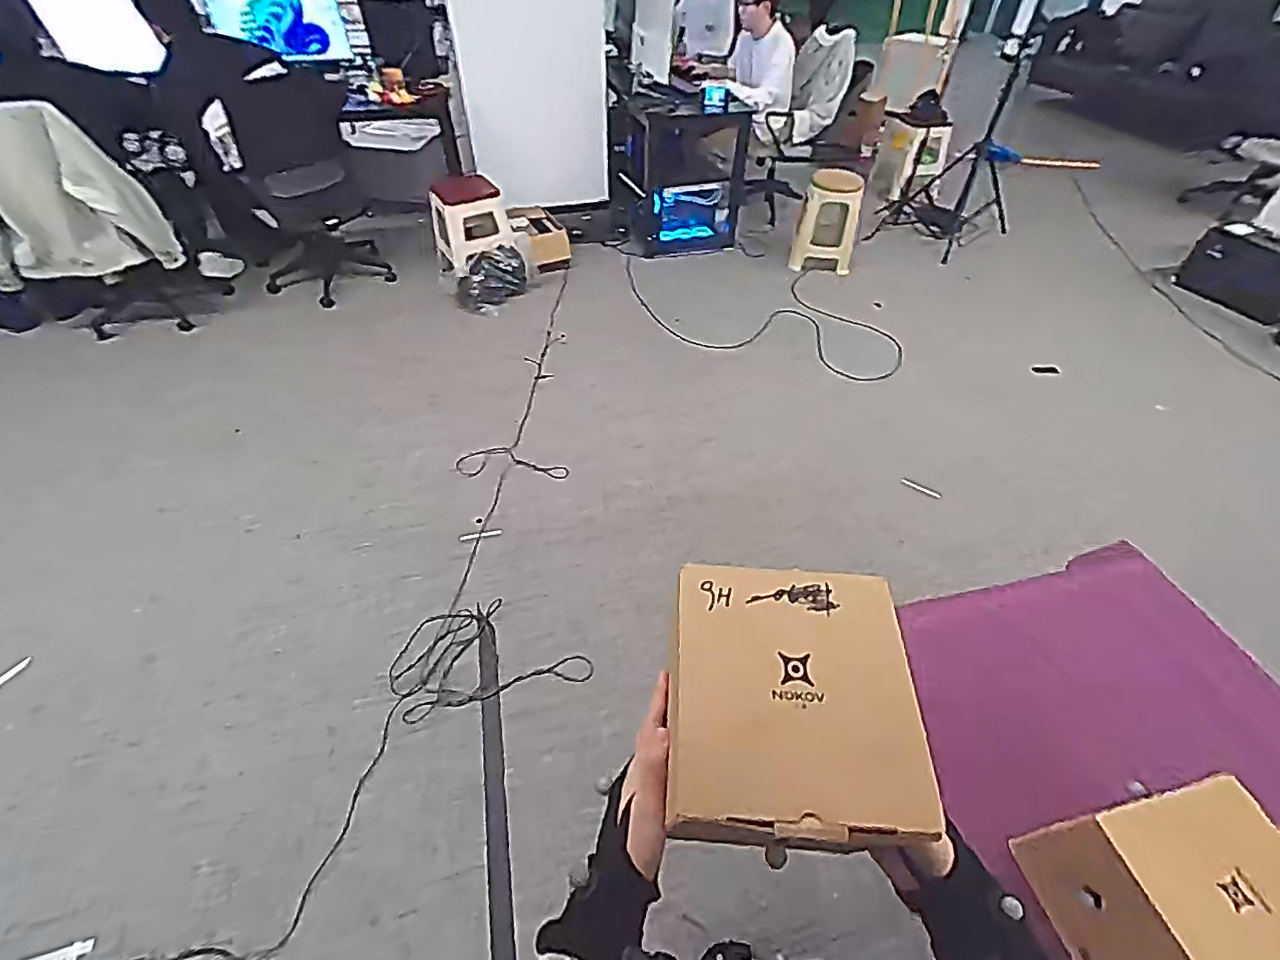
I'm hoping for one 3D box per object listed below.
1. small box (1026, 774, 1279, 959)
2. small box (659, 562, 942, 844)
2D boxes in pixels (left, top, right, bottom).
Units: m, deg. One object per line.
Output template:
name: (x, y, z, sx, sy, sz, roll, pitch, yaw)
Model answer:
small box: (0.541, 0.428, 0.548, 0.179, 0.176, 0.168, -8, 48, -10)
small box: (0.105, 0.186, 0.440, 0.168, 0.176, 0.179, 4, 54, 0)
